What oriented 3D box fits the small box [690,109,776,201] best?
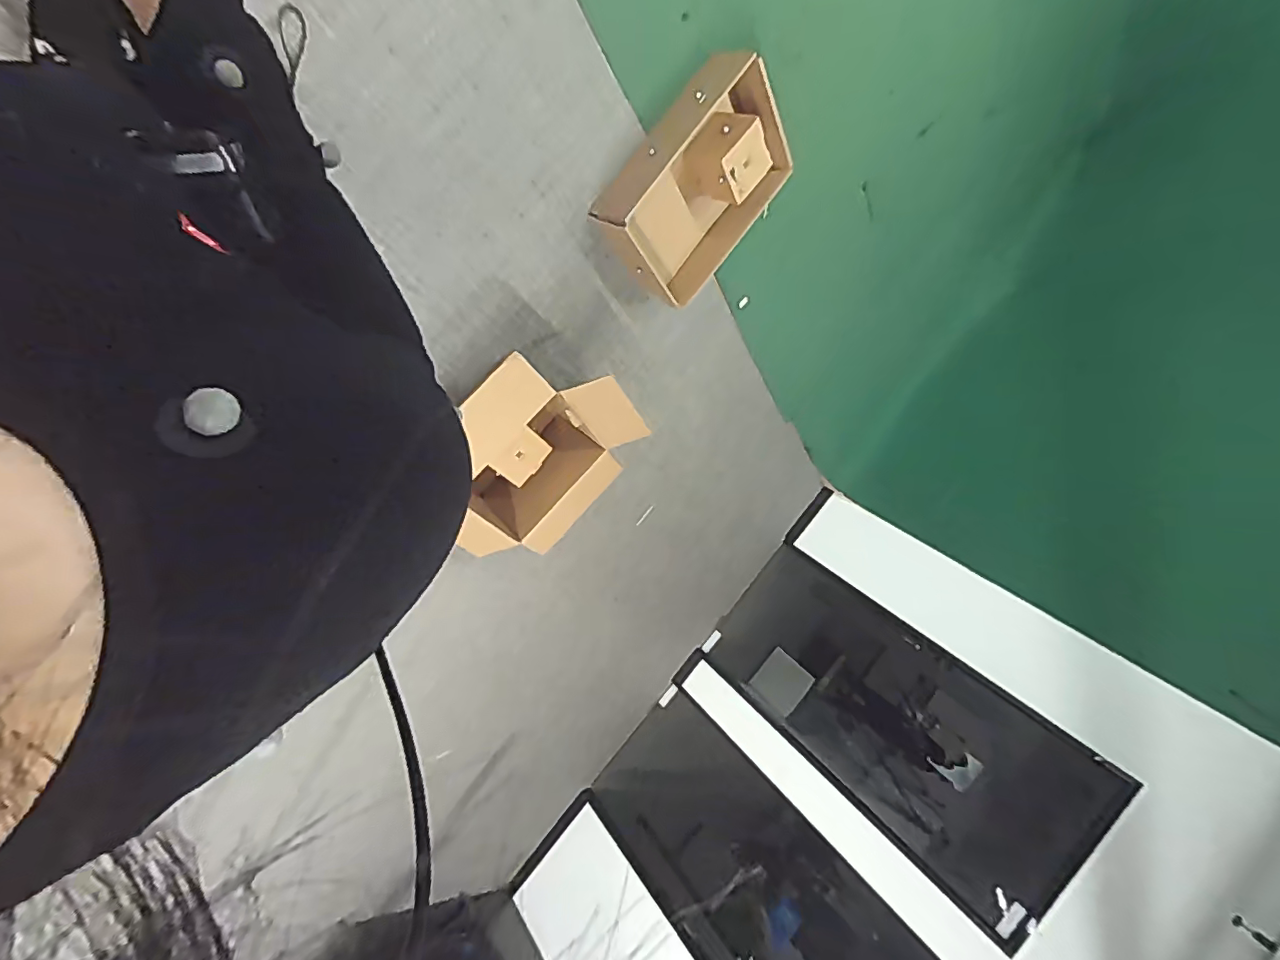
[{"bbox_3d":[0.285,-1.004,1.664,0.179,0.176,0.168,-51,143,-1],"label":"small box"}]
